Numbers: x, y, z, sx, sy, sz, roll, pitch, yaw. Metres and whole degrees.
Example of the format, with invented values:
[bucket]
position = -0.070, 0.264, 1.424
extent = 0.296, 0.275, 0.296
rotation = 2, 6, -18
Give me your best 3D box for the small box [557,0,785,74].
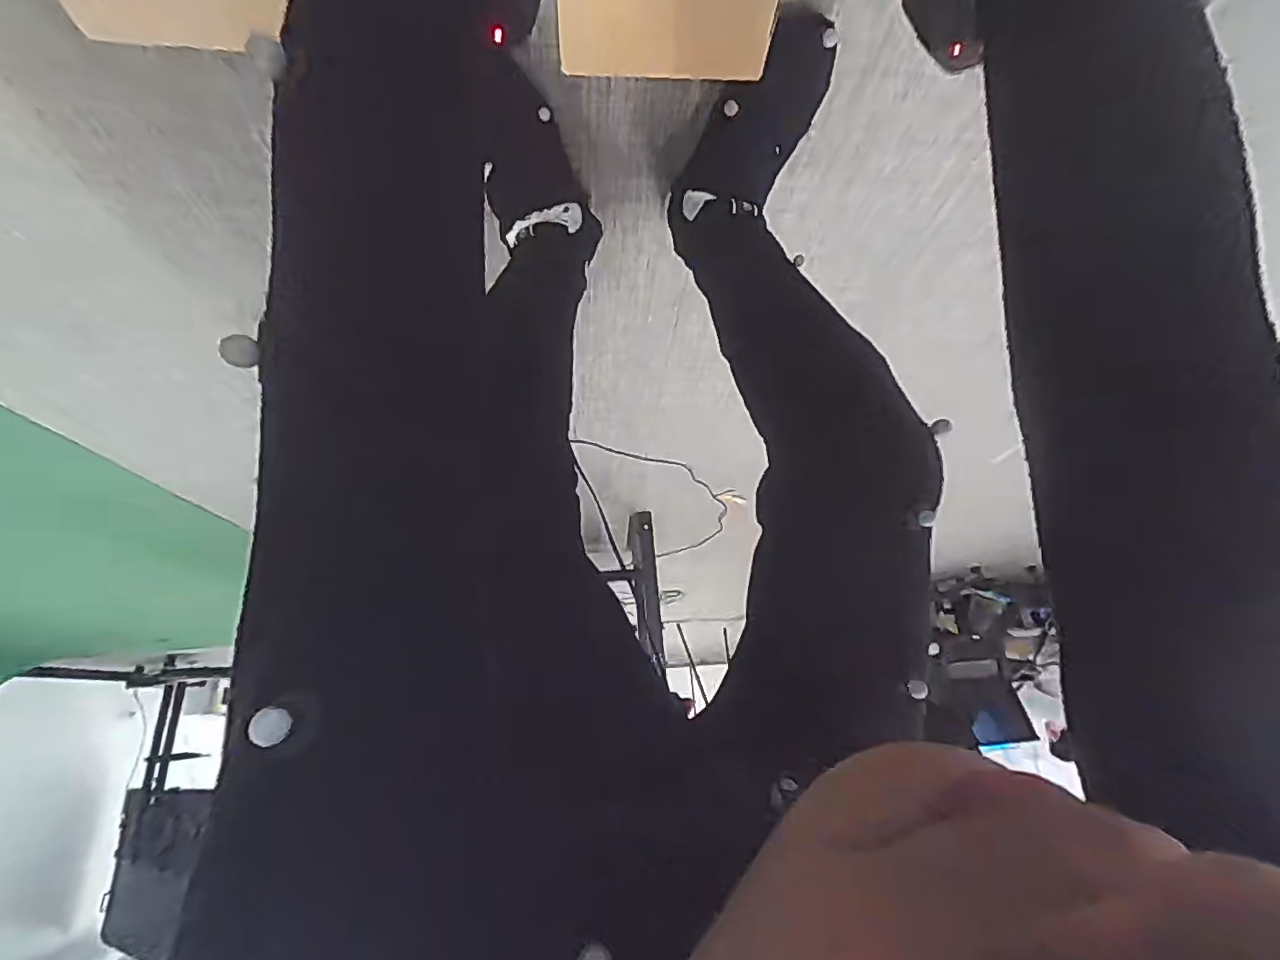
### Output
[small box]
position = 0.021, -0.451, 0.411
extent = 0.179, 0.176, 0.168
rotation = -4, 157, -6
